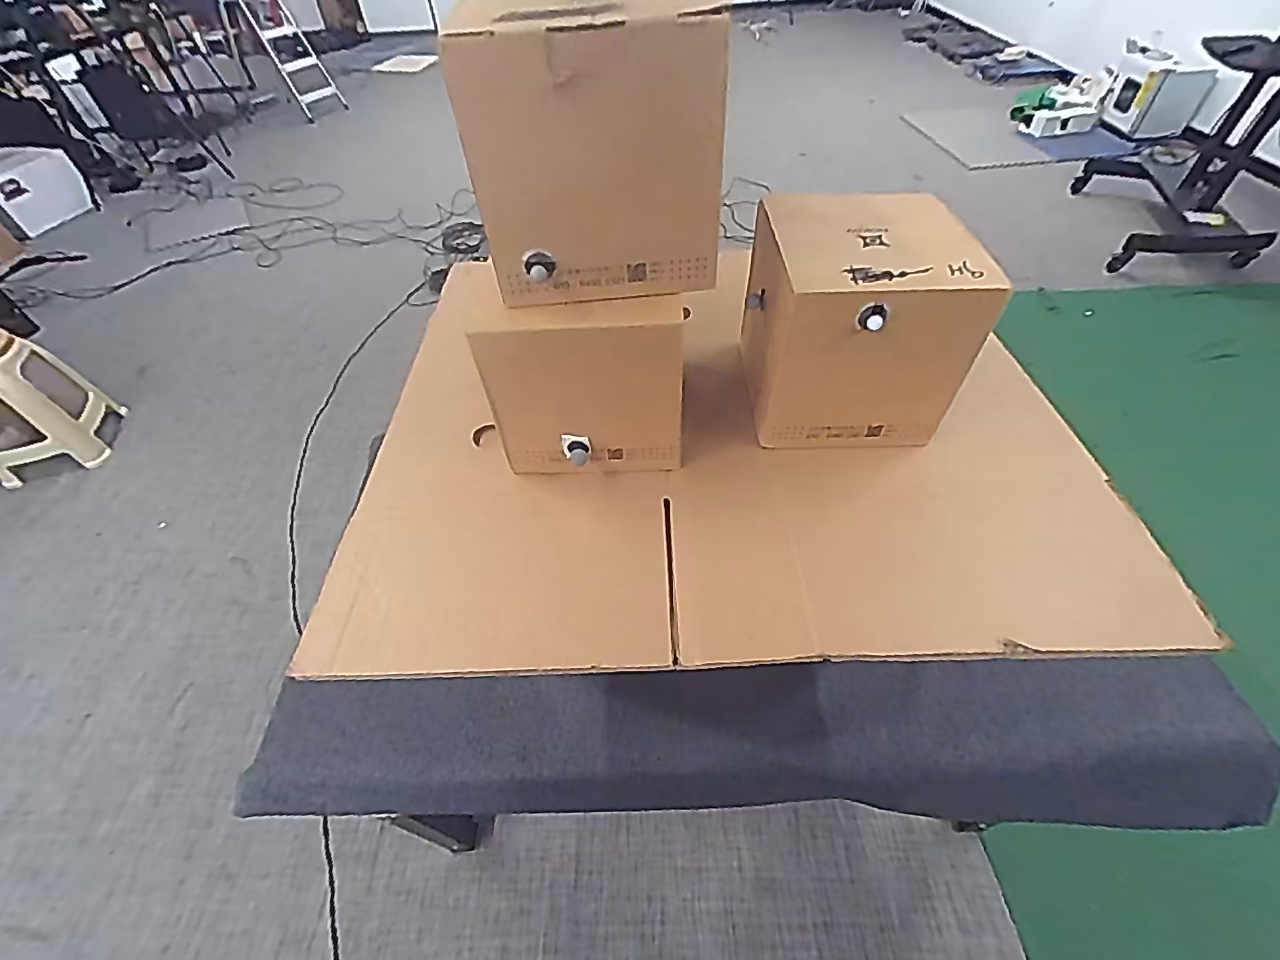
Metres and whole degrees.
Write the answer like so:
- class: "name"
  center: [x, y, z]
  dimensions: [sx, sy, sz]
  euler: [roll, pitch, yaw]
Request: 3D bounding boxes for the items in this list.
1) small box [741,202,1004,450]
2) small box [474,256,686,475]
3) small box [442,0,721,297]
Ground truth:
- class: "small box"
  center: [0.196, -0.149, 0.524]
  dimensions: [0.168, 0.176, 0.179]
  euler: [0, 49, 1]
- class: "small box"
  center: [-0.044, -0.125, 0.525]
  dimensions: [0.168, 0.176, 0.179]
  euler: [-3, 51, 2]
- class: "small box"
  center: [-0.033, -0.257, 0.421]
  dimensions: [0.168, 0.176, 0.179]
  euler: [-5, 48, -1]
